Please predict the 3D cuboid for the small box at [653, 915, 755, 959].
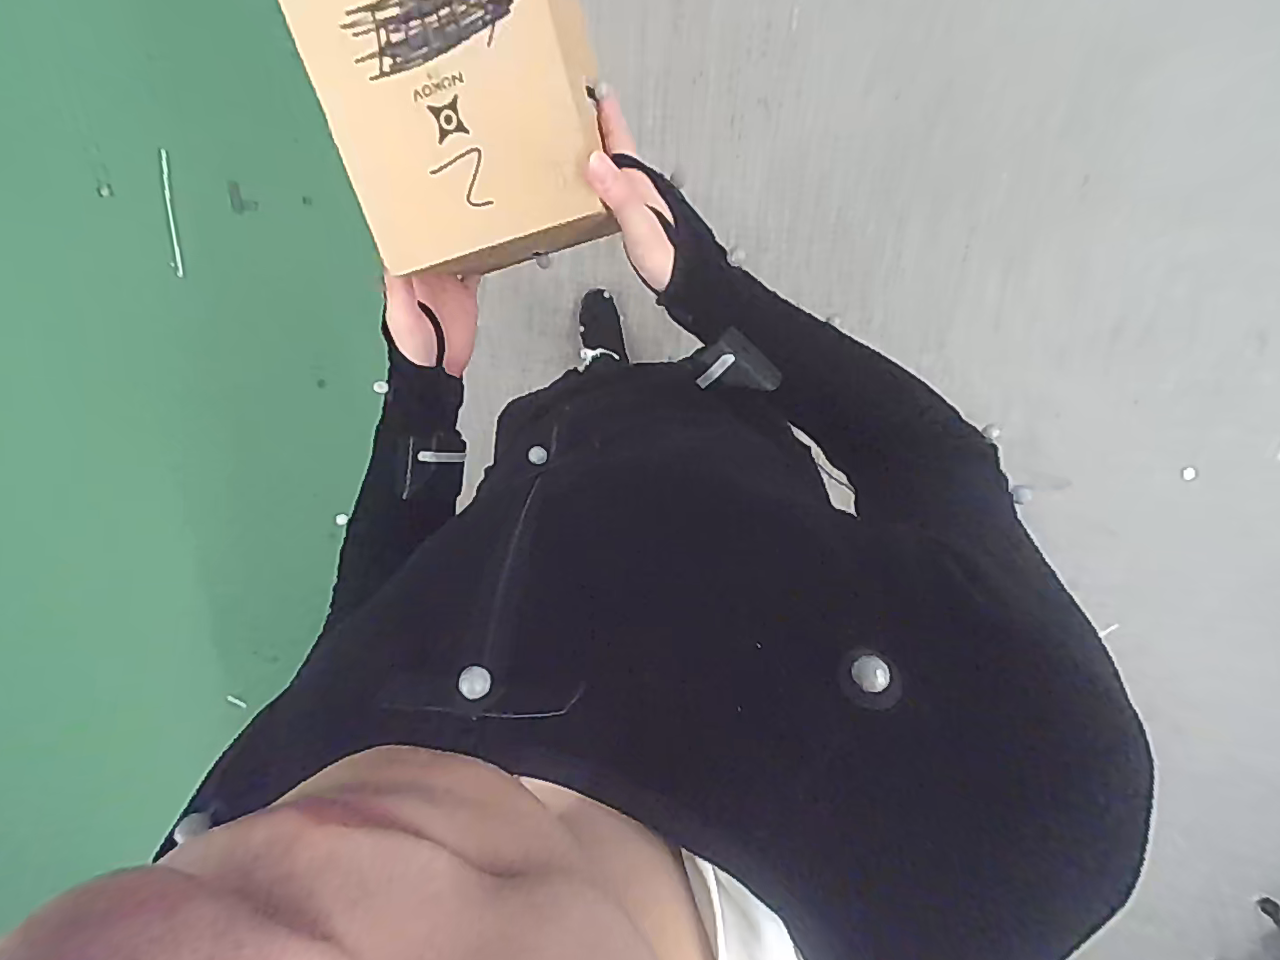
[{"bbox_3d":[0.104,0.850,0.876,0.168,0.176,0.179,1,107,3],"label":"small box"}]
